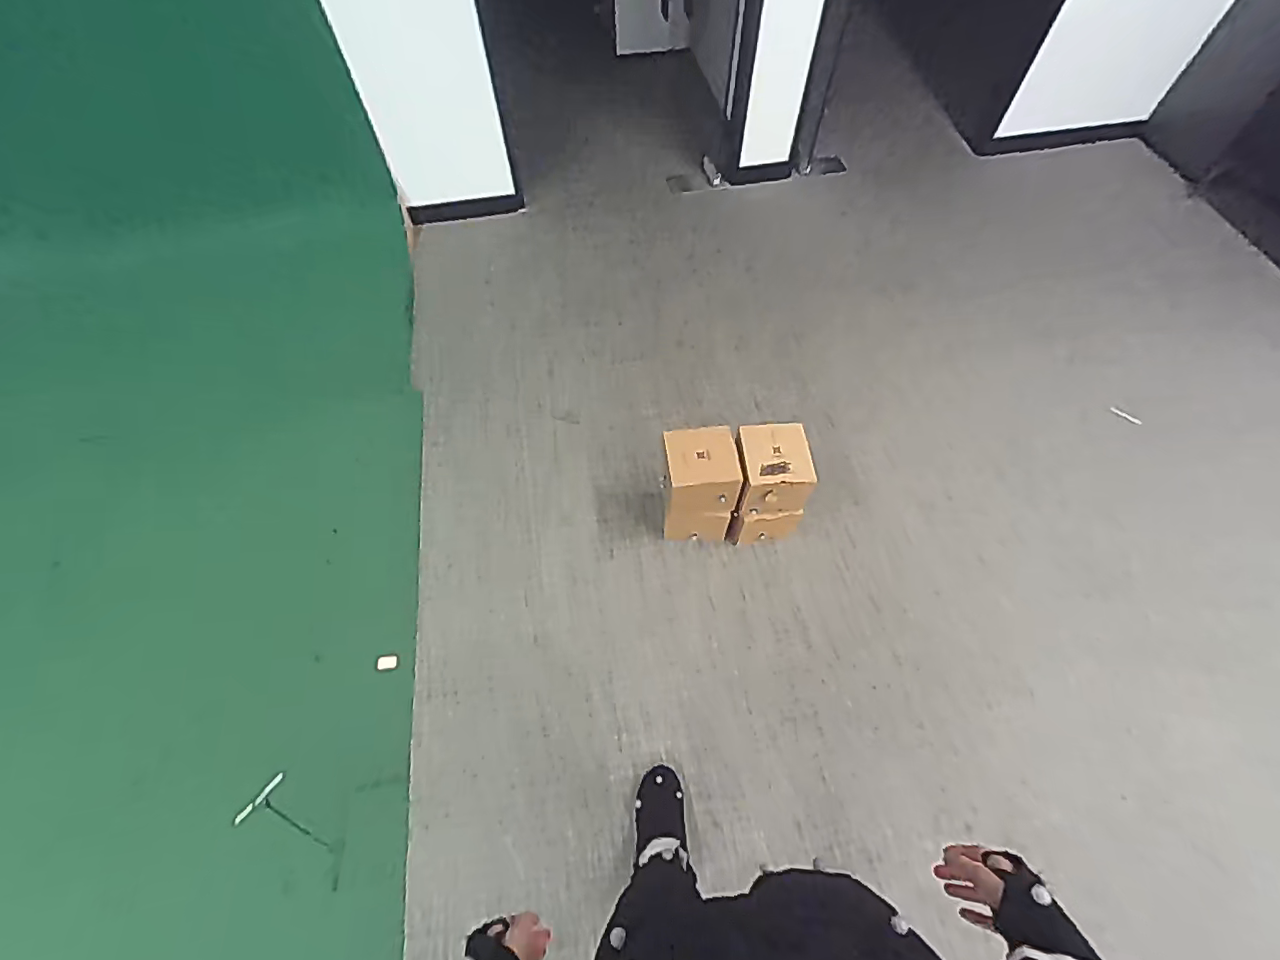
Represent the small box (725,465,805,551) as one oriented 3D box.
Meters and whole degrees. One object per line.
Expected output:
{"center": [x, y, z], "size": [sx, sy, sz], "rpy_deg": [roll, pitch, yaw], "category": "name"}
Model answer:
{"center": [0.346, 0.081, 1.539], "size": [0.168, 0.176, 0.179], "rpy_deg": [-9, 61, -4], "category": "small box"}
